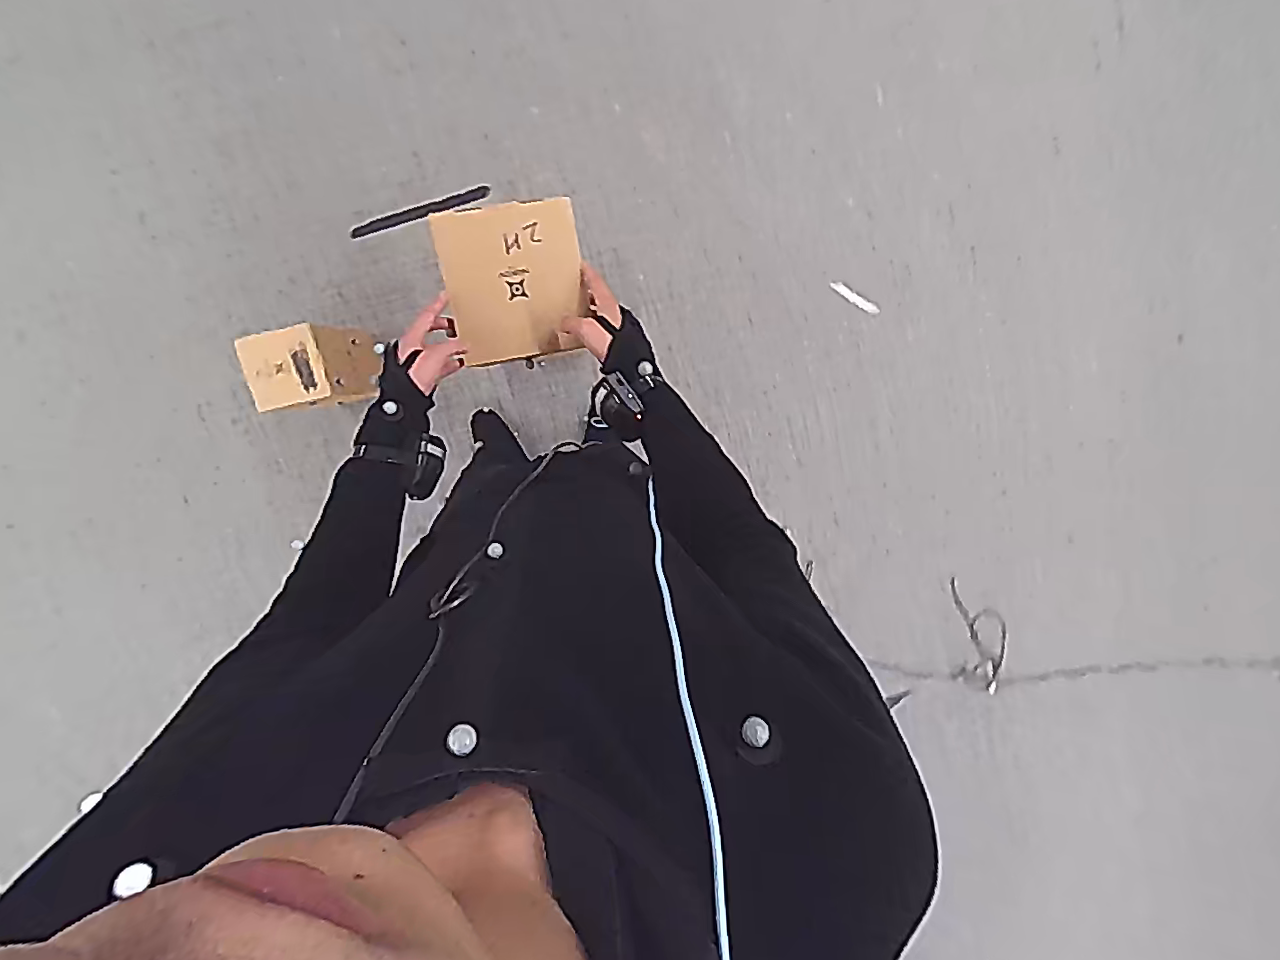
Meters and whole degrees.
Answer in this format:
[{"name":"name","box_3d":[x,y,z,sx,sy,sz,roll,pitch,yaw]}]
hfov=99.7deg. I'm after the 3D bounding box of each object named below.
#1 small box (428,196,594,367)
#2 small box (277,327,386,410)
[{"name":"small box","box_3d":[-0.162,-0.251,0.715,0.168,0.176,0.179,-12,104,-9]},{"name":"small box","box_3d":[-0.808,-0.295,1.439,0.168,0.176,0.179,-15,100,0]}]
